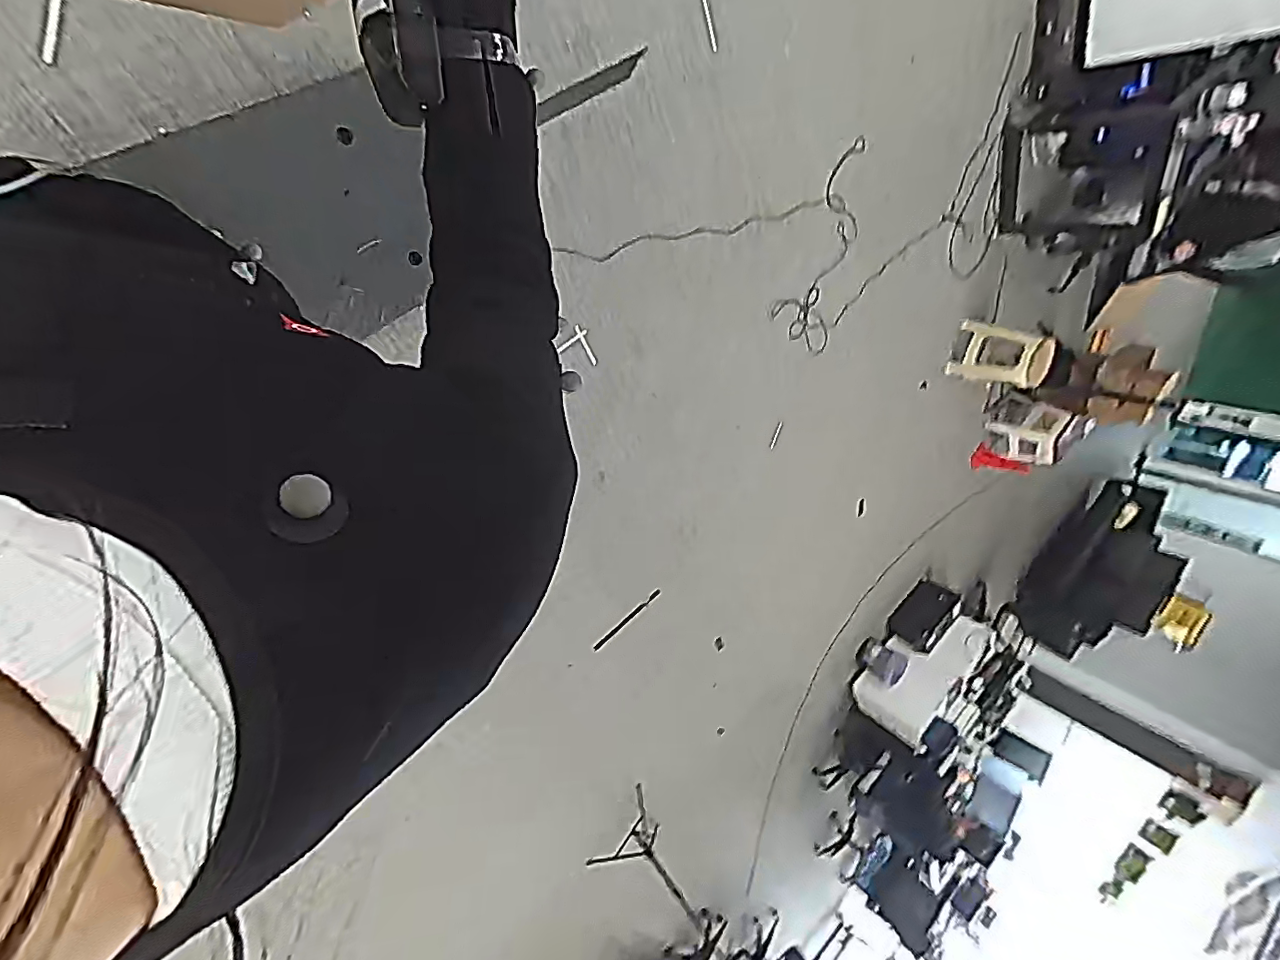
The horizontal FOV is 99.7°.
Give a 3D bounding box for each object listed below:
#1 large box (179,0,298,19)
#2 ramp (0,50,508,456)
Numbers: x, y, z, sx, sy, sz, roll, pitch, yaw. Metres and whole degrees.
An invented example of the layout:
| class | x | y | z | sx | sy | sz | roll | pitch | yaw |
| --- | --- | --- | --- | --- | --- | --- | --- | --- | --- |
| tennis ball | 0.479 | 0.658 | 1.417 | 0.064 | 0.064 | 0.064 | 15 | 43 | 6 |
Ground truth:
| class | x | y | z | sx | sy | sz | roll | pitch | yaw |
| --- | --- | --- | --- | --- | --- | --- | --- | --- | --- |
| large box | -0.375 | -0.432 | 0.205 | 0.408 | 0.320 | 0.320 | -18 | 128 | -36 |
| ramp | -0.772 | -0.544 | 1.221 | 0.991 | 0.206 | 0.509 | -41 | 129 | -18 |
